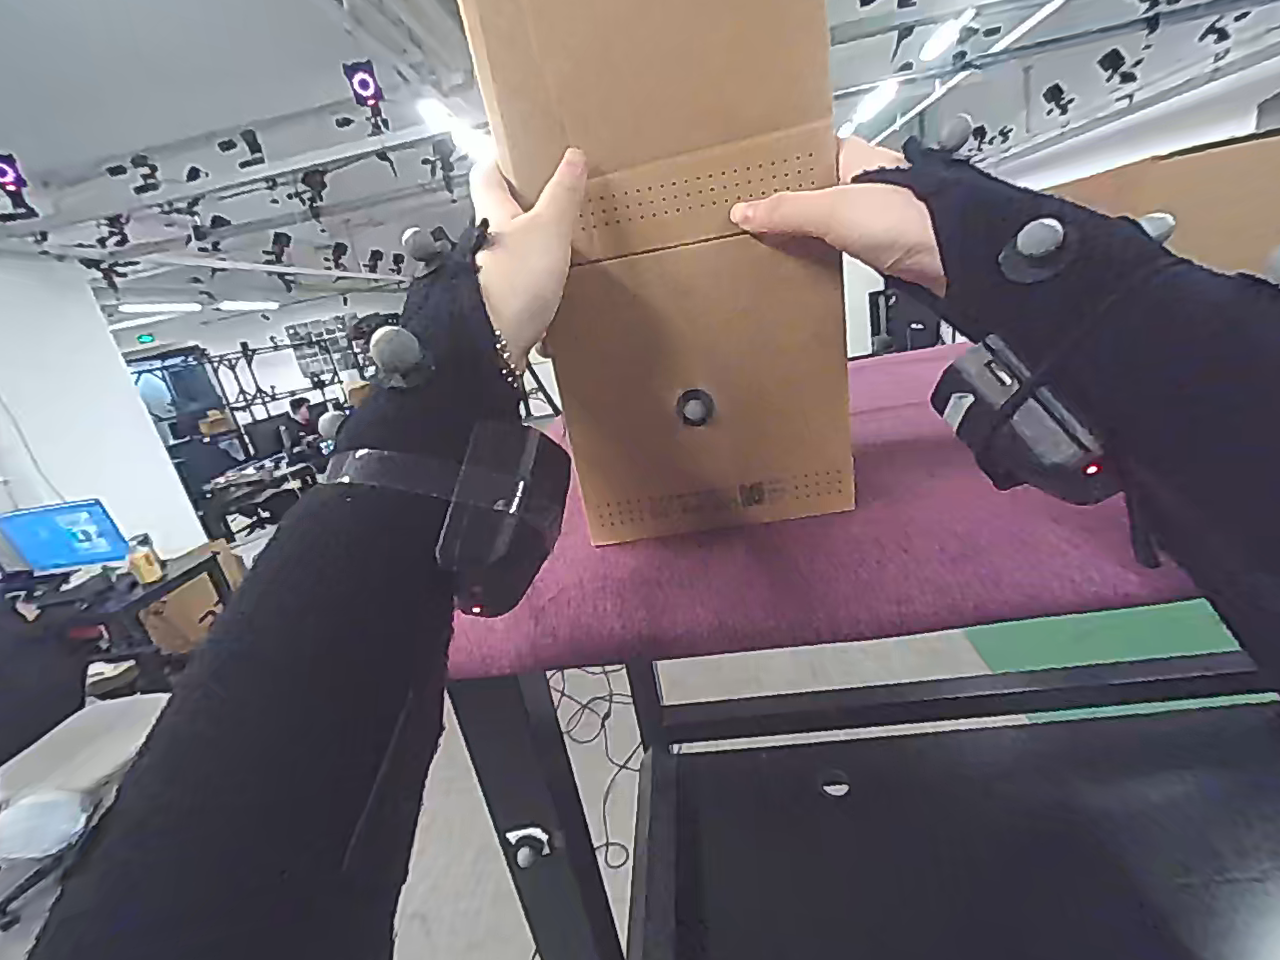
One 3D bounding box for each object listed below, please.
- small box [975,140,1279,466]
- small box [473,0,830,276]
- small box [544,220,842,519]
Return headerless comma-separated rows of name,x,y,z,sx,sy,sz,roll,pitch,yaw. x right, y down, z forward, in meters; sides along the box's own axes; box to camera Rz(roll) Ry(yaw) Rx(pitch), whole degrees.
small box,0.359,-0.120,0.372,0.179,0.176,0.168,-9,17,6
small box,0.009,-0.227,0.351,0.179,0.176,0.168,-9,18,3
small box,0.042,-0.075,0.400,0.168,0.176,0.179,-7,17,5
